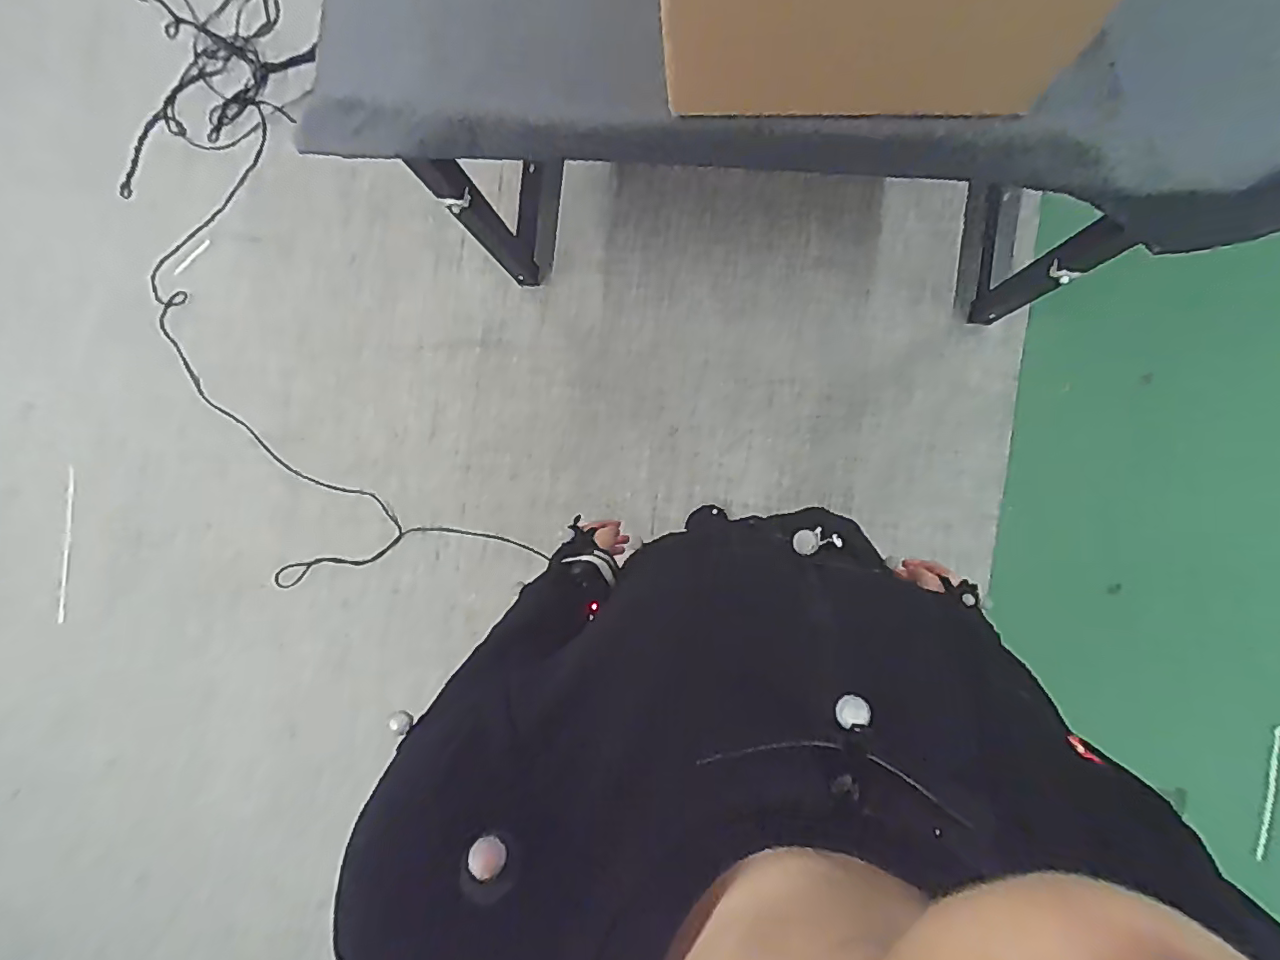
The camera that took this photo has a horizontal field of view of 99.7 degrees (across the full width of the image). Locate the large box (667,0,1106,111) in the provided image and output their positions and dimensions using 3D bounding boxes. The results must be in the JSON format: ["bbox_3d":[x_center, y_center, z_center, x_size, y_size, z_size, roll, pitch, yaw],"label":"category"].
[{"bbox_3d":[0.226,-0.584,0.482,0.408,0.320,0.320,3,90,5],"label":"large box"}]
